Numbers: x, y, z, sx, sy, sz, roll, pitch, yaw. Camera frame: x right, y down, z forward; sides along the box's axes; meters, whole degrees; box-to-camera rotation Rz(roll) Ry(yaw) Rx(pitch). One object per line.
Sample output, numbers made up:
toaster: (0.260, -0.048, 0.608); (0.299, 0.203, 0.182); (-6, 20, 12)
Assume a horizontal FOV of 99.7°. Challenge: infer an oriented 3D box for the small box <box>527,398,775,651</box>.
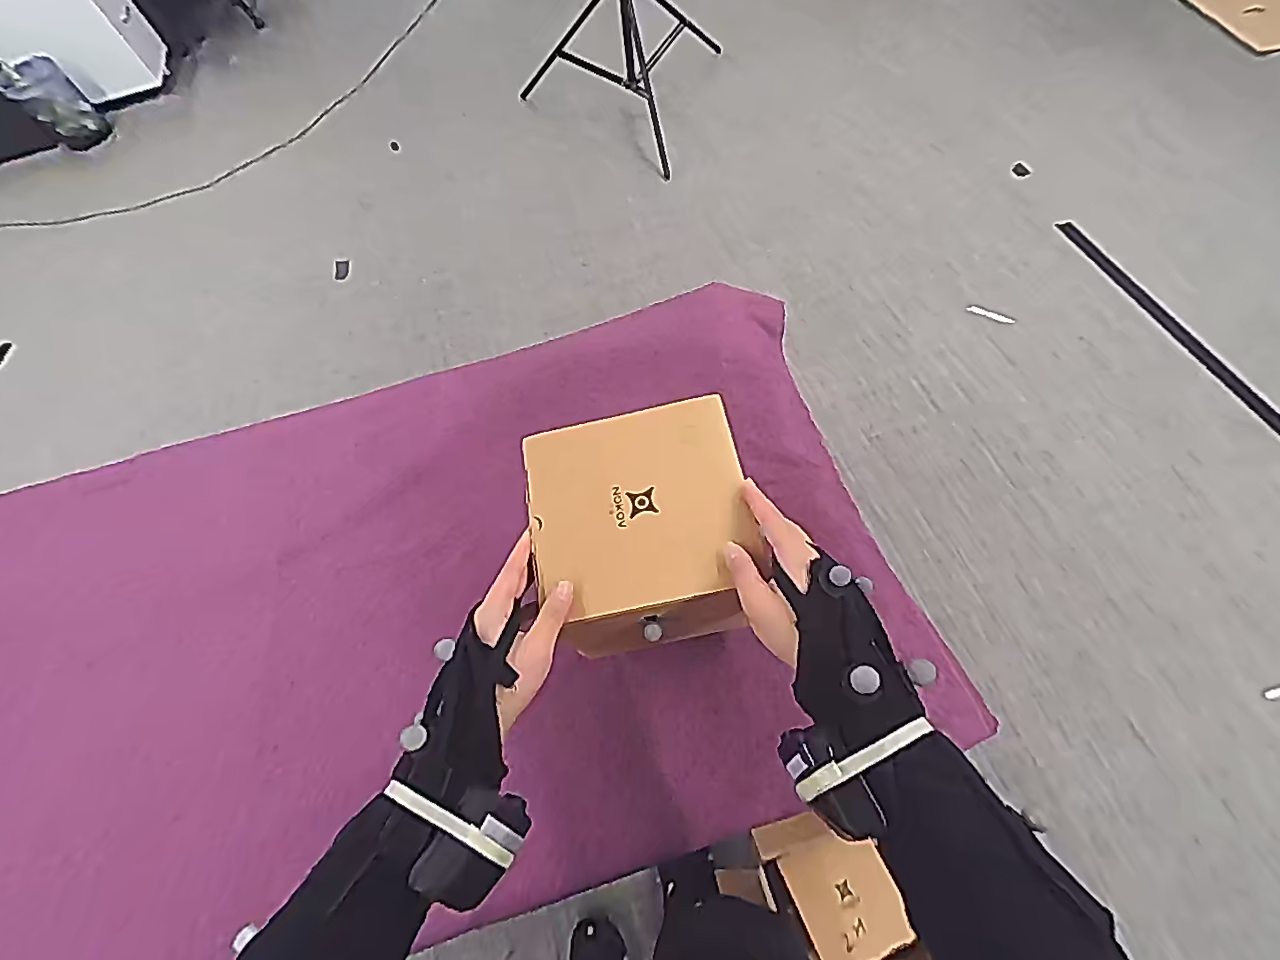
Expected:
small box: (0.010, 0.052, 0.501); (0.179, 0.176, 0.168); (-13, 64, 3)
